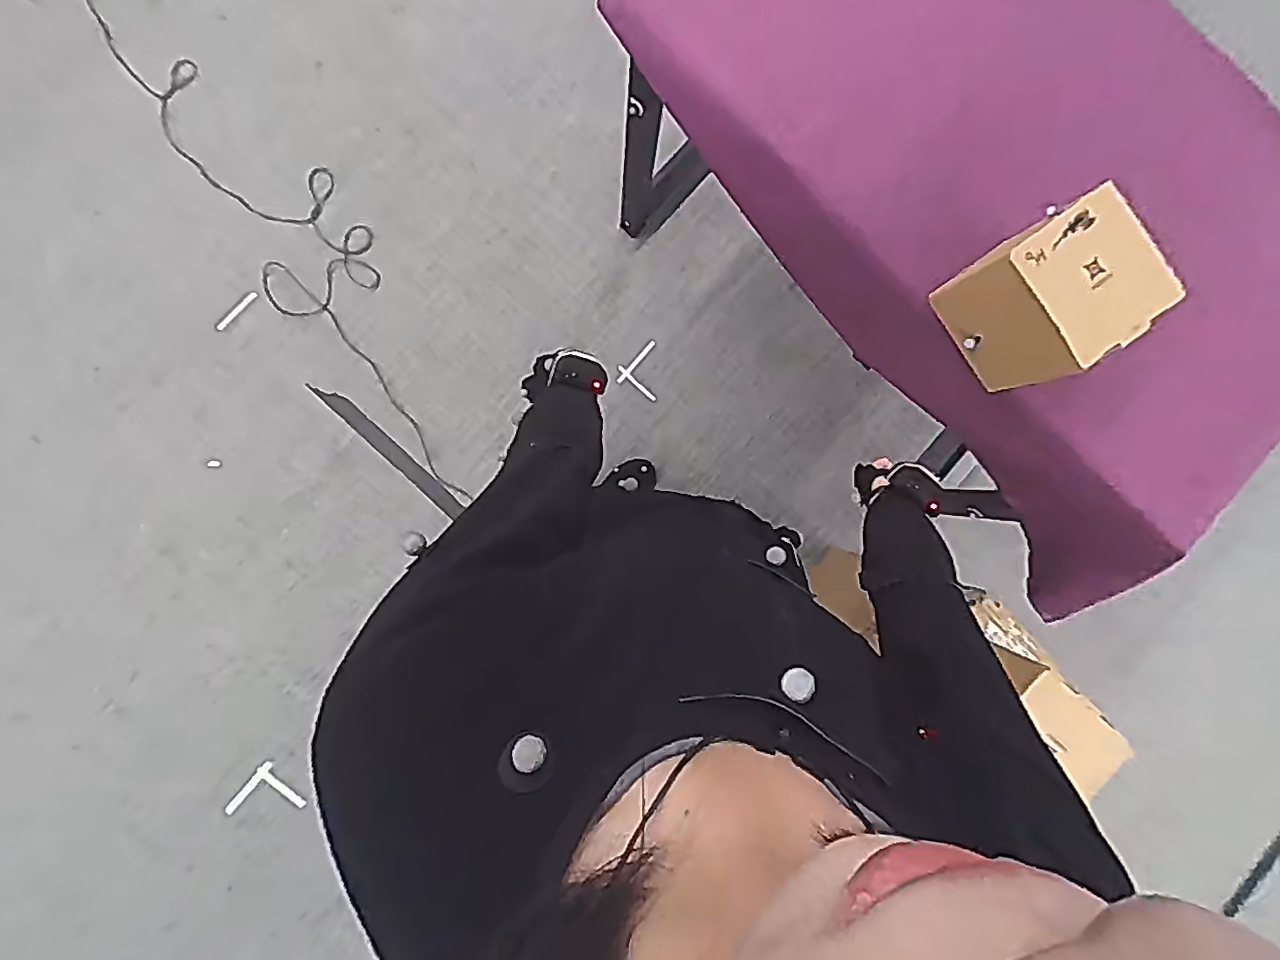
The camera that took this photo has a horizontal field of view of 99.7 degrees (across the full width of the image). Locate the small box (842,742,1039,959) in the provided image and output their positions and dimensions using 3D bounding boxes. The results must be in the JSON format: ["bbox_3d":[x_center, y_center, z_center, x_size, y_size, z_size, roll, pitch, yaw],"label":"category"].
[{"bbox_3d":[0.441,0.552,0.833,0.179,0.176,0.168,-44,91,-5],"label":"small box"}]

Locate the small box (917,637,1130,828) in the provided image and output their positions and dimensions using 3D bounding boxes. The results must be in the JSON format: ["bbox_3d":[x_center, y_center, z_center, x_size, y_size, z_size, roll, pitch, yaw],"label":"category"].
[{"bbox_3d":[0.579,0.377,0.844,0.168,0.176,0.179,43,89,-1],"label":"small box"}]

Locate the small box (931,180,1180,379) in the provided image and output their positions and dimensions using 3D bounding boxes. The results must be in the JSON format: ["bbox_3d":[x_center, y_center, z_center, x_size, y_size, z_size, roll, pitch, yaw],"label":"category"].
[{"bbox_3d":[0.550,-0.254,0.741,0.168,0.176,0.179,-35,93,-4],"label":"small box"}]
